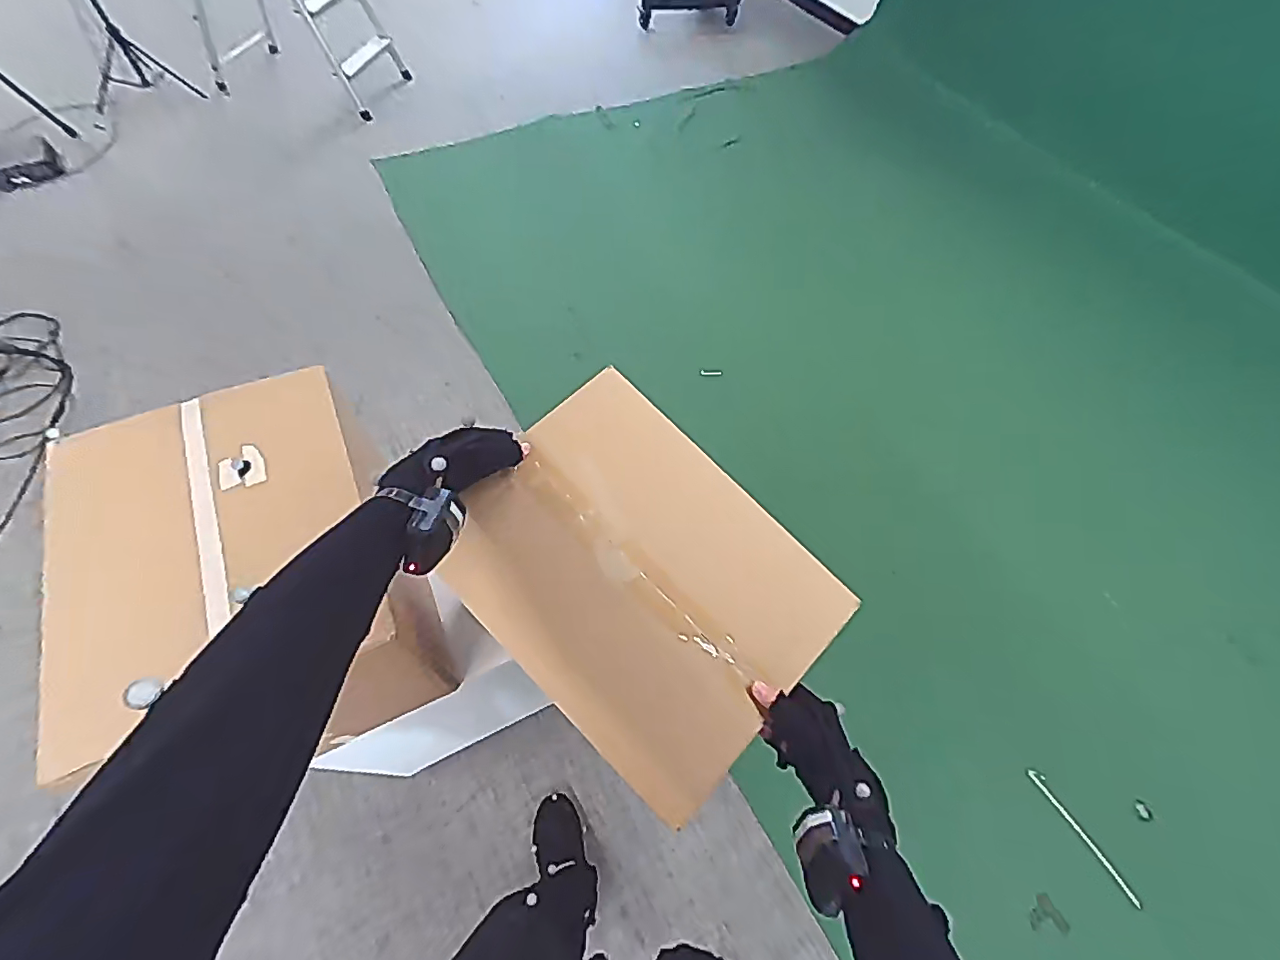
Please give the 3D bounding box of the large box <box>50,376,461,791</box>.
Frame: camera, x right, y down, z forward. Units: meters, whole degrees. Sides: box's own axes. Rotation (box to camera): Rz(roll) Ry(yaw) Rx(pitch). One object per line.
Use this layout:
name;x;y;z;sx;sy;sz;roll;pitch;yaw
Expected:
large box;-0.485;0.141;0.735;0.320;0.320;0.408;-22;62;-16
